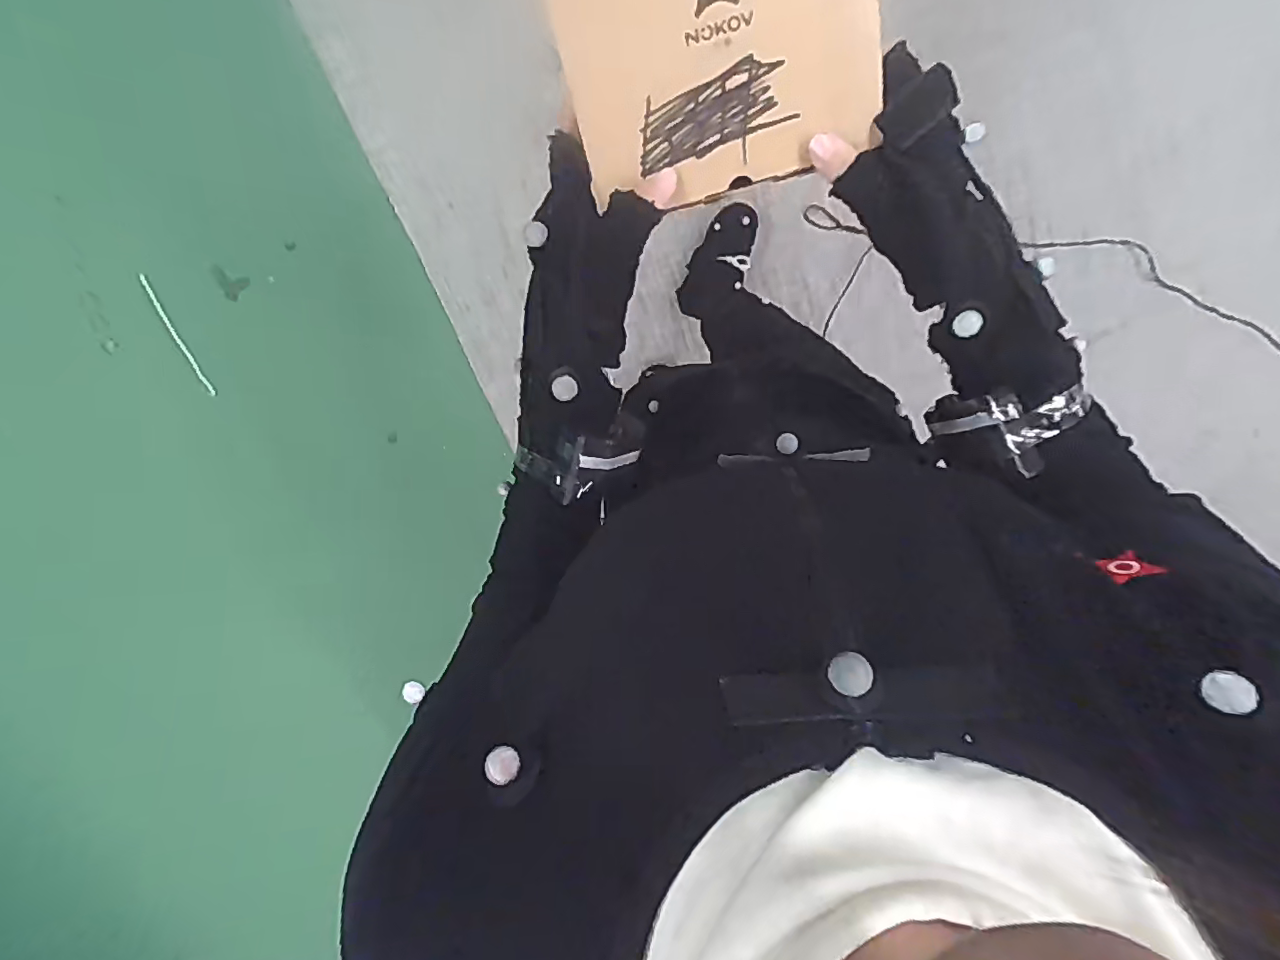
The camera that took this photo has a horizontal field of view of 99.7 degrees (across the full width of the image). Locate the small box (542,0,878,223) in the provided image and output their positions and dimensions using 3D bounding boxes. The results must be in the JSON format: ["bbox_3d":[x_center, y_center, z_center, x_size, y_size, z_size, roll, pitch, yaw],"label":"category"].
[{"bbox_3d":[0.034,-0.293,0.346,0.168,0.176,0.179,-16,122,9],"label":"small box"}]
